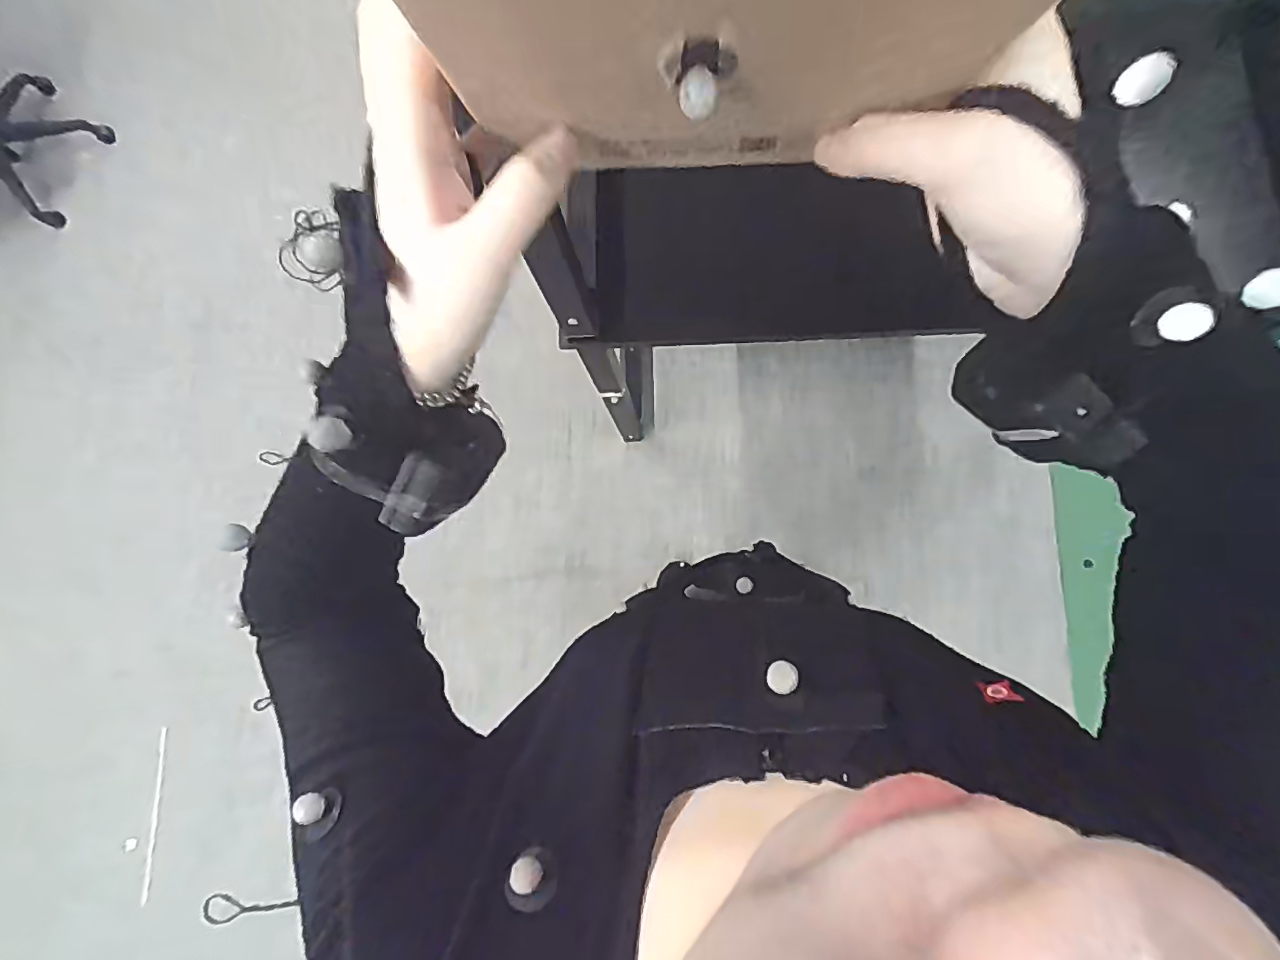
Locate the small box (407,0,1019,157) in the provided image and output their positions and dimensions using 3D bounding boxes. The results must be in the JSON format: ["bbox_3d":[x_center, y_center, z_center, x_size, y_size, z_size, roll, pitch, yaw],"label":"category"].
[{"bbox_3d":[0.022,-0.203,0.139,0.168,0.176,0.179,-1,101,1],"label":"small box"}]
